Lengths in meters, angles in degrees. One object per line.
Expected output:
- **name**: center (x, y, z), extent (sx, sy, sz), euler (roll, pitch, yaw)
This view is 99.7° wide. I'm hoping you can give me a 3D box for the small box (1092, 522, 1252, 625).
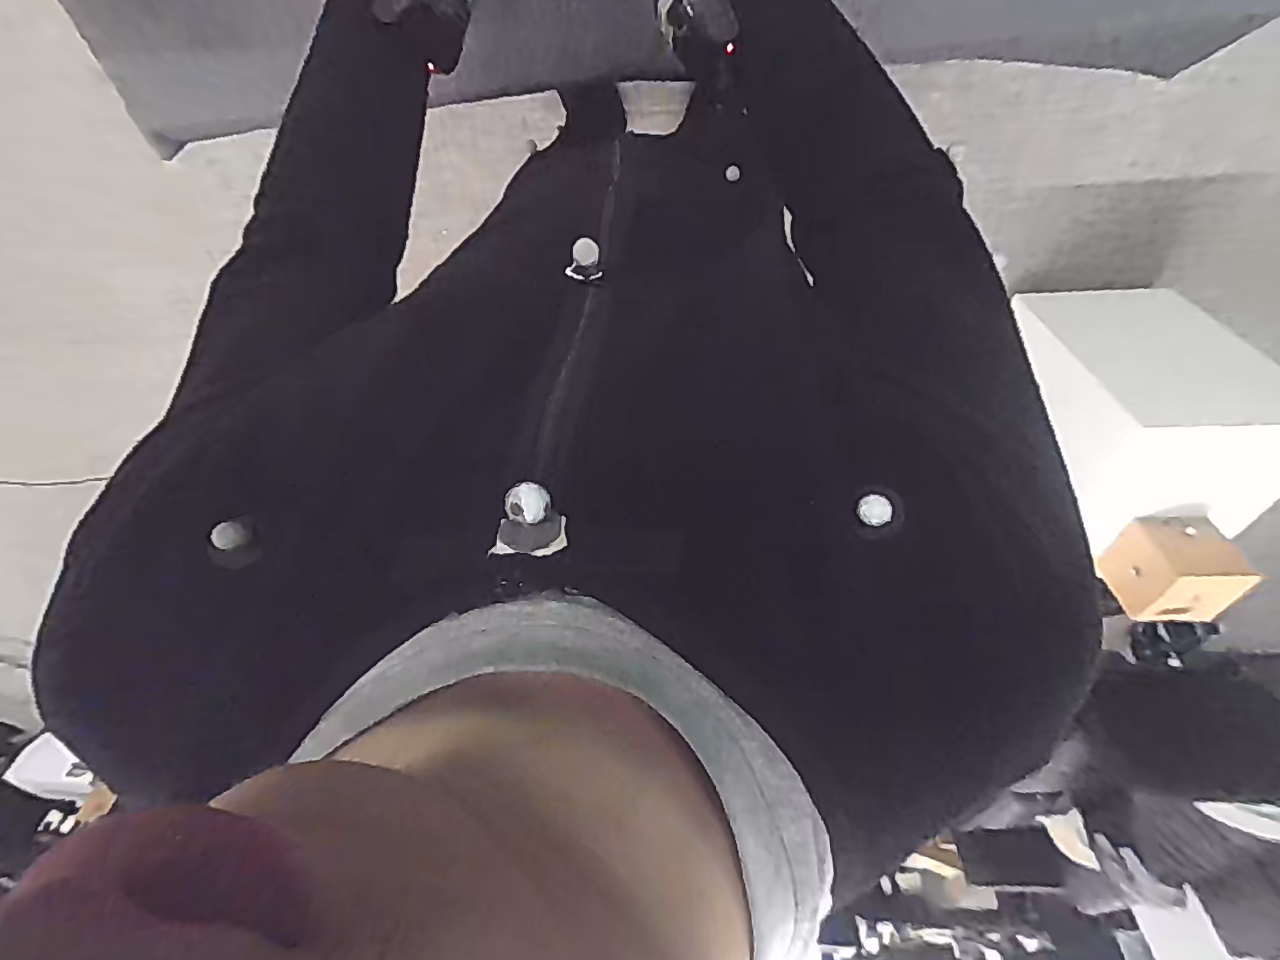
- **small box**: center (1.196, 0.214, 1.240), extent (0.168, 0.176, 0.179), euler (-2, 134, 2)
